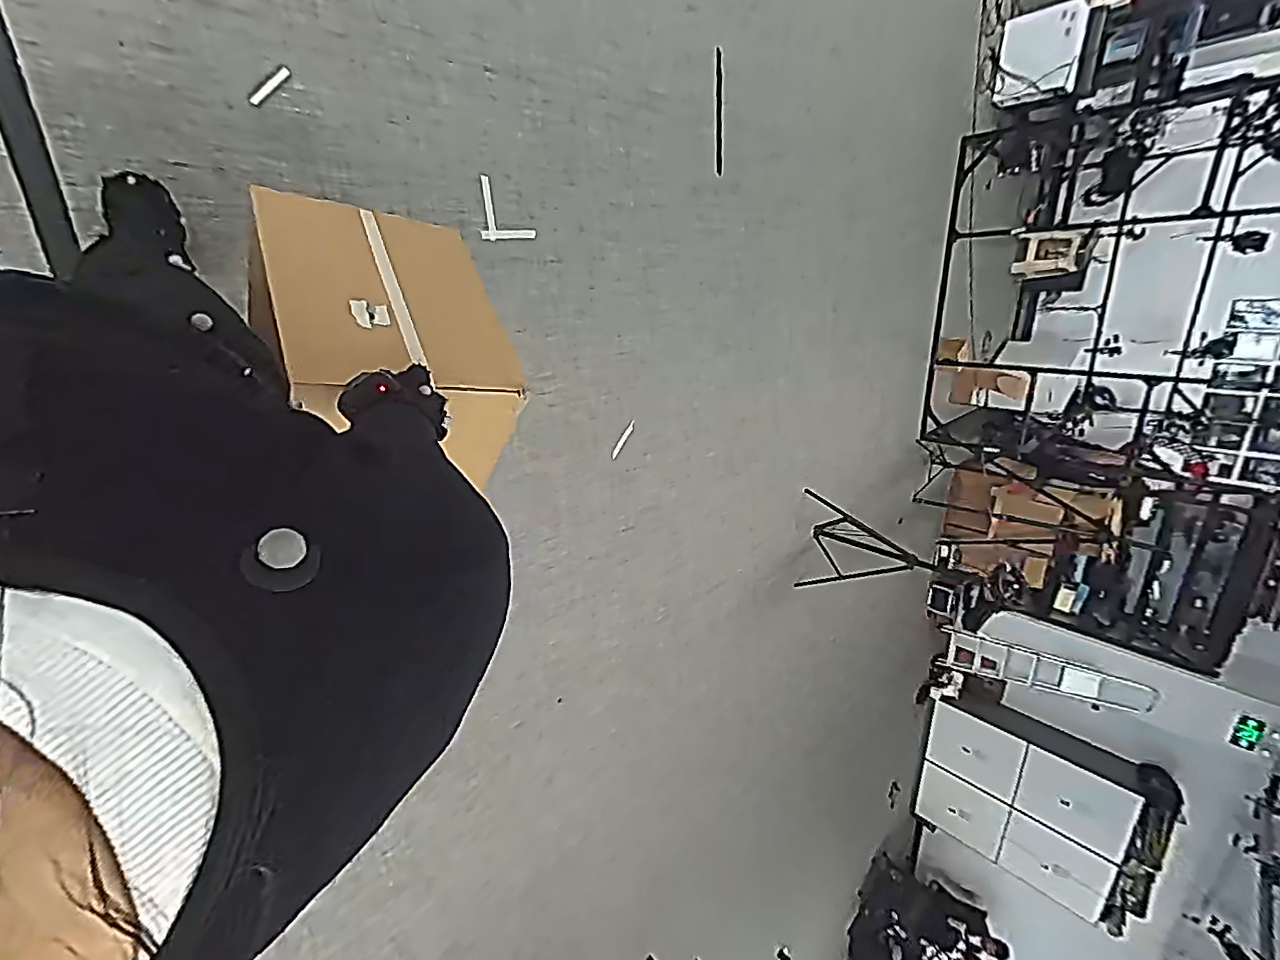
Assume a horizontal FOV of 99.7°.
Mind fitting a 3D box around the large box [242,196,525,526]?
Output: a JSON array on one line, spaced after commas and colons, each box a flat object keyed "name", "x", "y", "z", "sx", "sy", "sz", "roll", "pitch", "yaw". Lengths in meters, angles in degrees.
[{"name": "large box", "x": -0.451, "y": -0.183, "z": 0.908, "sx": 0.320, "sy": 0.408, "sz": 0.320, "roll": -6, "pitch": 148, "yaw": -40}]
